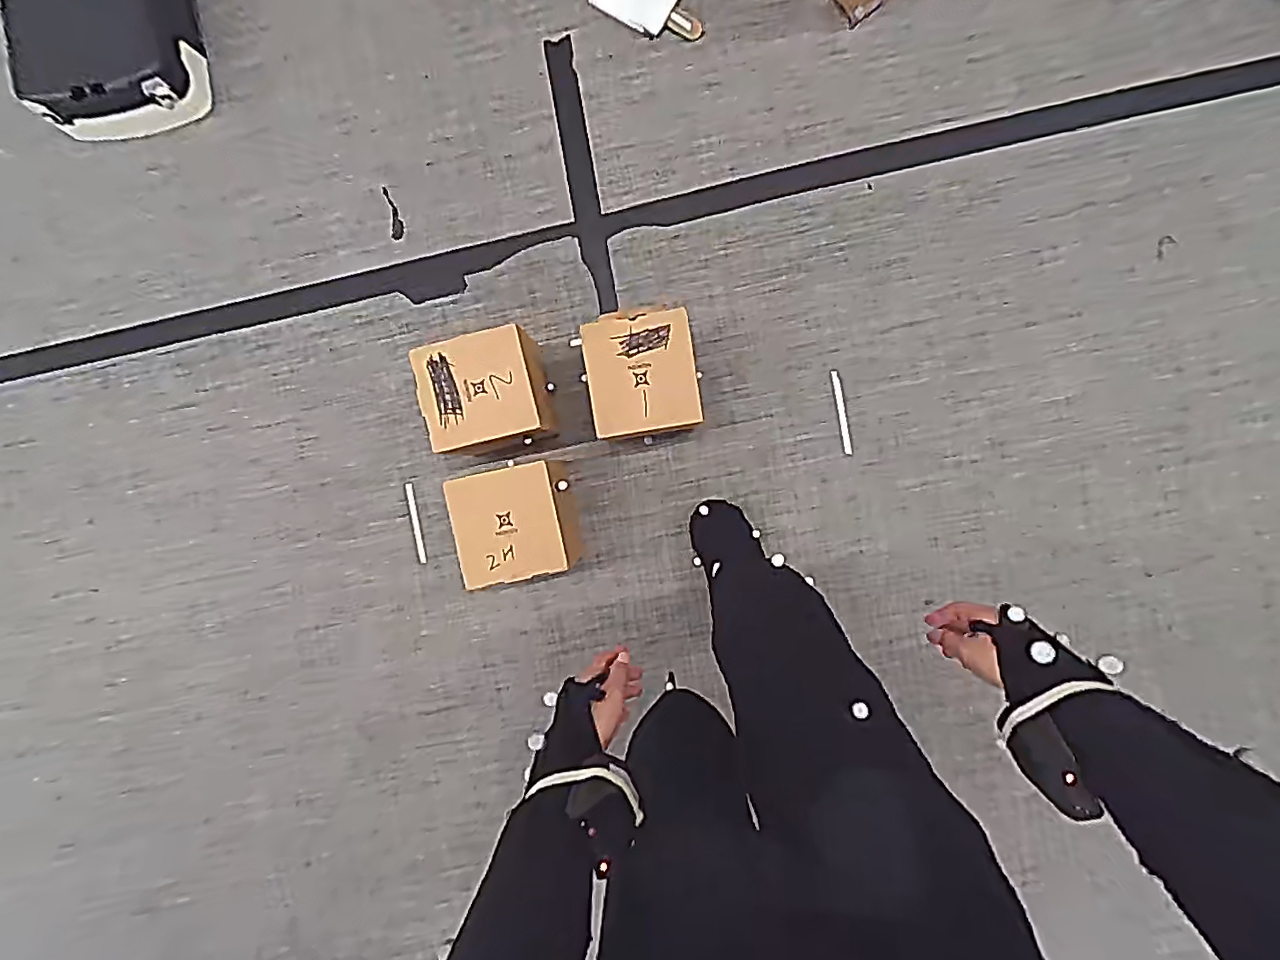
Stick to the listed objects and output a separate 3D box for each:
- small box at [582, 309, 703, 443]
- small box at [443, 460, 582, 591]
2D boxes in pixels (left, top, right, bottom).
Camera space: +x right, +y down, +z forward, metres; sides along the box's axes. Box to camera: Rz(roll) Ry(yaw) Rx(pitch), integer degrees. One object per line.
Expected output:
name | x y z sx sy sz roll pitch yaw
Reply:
small box | 0.005 -0.160 0.888 0.168 0.176 0.179 -9 92 2
small box | -0.202 0.069 0.900 0.168 0.176 0.179 -12 91 3
